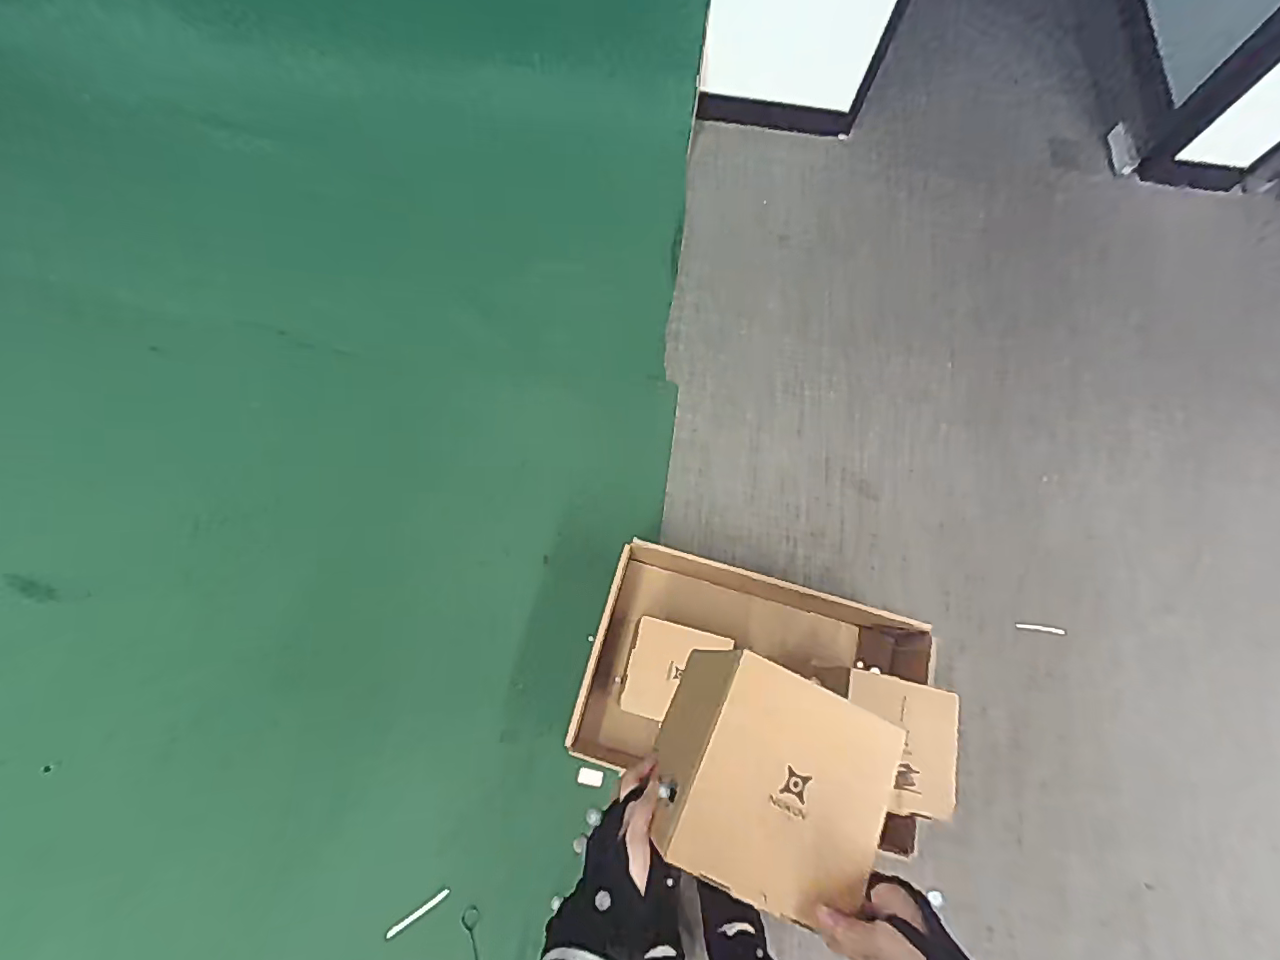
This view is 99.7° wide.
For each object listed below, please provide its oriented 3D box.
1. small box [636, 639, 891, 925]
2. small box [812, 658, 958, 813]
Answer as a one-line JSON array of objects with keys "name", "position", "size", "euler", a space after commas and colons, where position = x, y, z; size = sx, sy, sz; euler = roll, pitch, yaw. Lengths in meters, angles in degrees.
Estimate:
[{"name": "small box", "position": [0.108, 0.272, 0.536], "size": [0.168, 0.176, 0.179], "euler": [26, 72, -1]}, {"name": "small box", "position": [0.368, 0.387, 0.851], "size": [0.168, 0.176, 0.179], "euler": [13, 72, 2]}]
